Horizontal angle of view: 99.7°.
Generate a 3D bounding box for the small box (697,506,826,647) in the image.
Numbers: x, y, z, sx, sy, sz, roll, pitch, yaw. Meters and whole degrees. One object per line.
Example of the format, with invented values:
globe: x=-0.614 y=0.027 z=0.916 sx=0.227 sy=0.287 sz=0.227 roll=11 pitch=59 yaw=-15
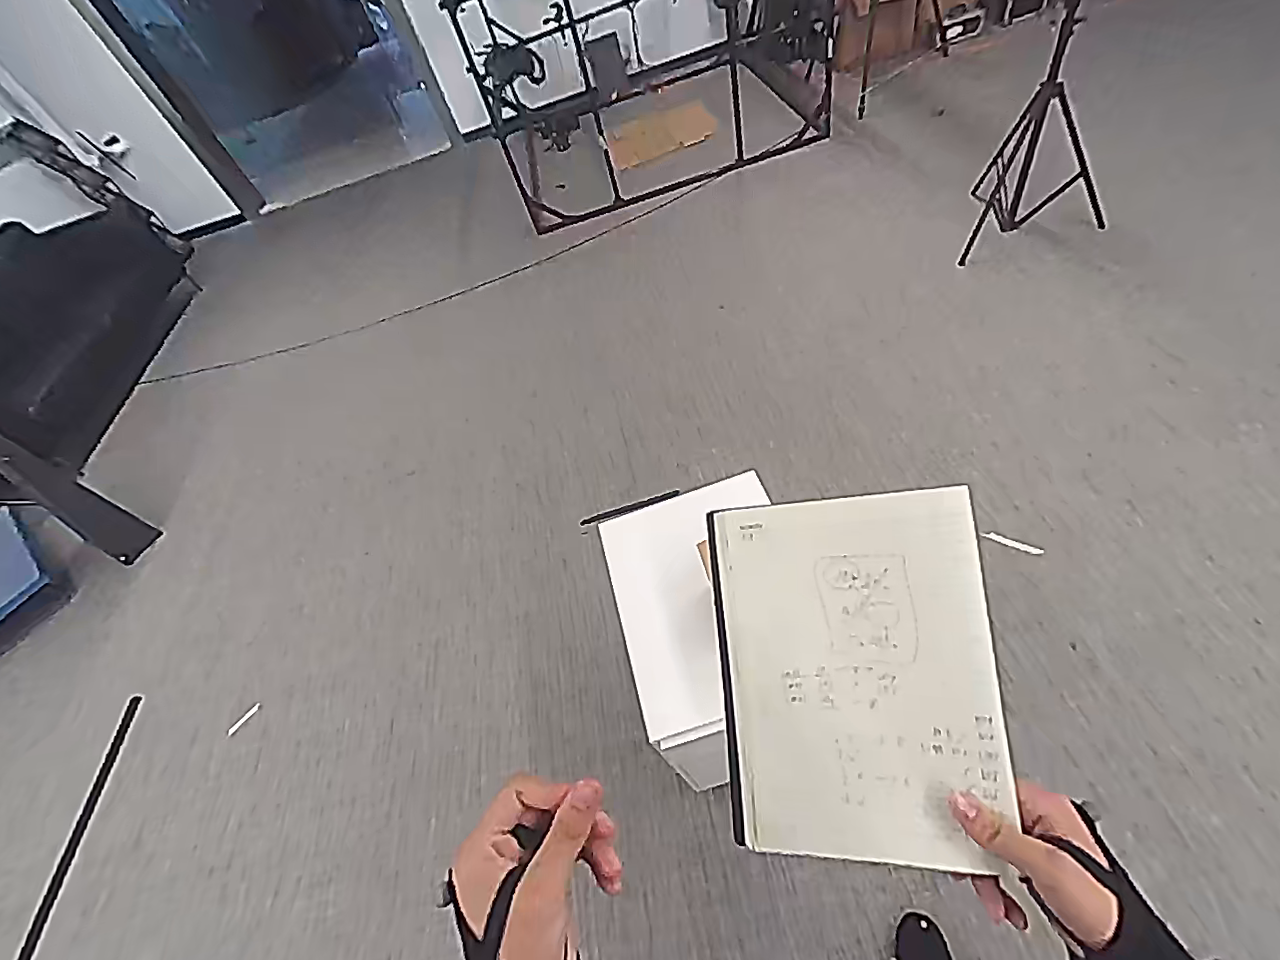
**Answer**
small box: x=0.231 y=0.187 z=1.030 sx=0.179 sy=0.176 sz=0.168 roll=-26 pitch=49 yaw=-3
